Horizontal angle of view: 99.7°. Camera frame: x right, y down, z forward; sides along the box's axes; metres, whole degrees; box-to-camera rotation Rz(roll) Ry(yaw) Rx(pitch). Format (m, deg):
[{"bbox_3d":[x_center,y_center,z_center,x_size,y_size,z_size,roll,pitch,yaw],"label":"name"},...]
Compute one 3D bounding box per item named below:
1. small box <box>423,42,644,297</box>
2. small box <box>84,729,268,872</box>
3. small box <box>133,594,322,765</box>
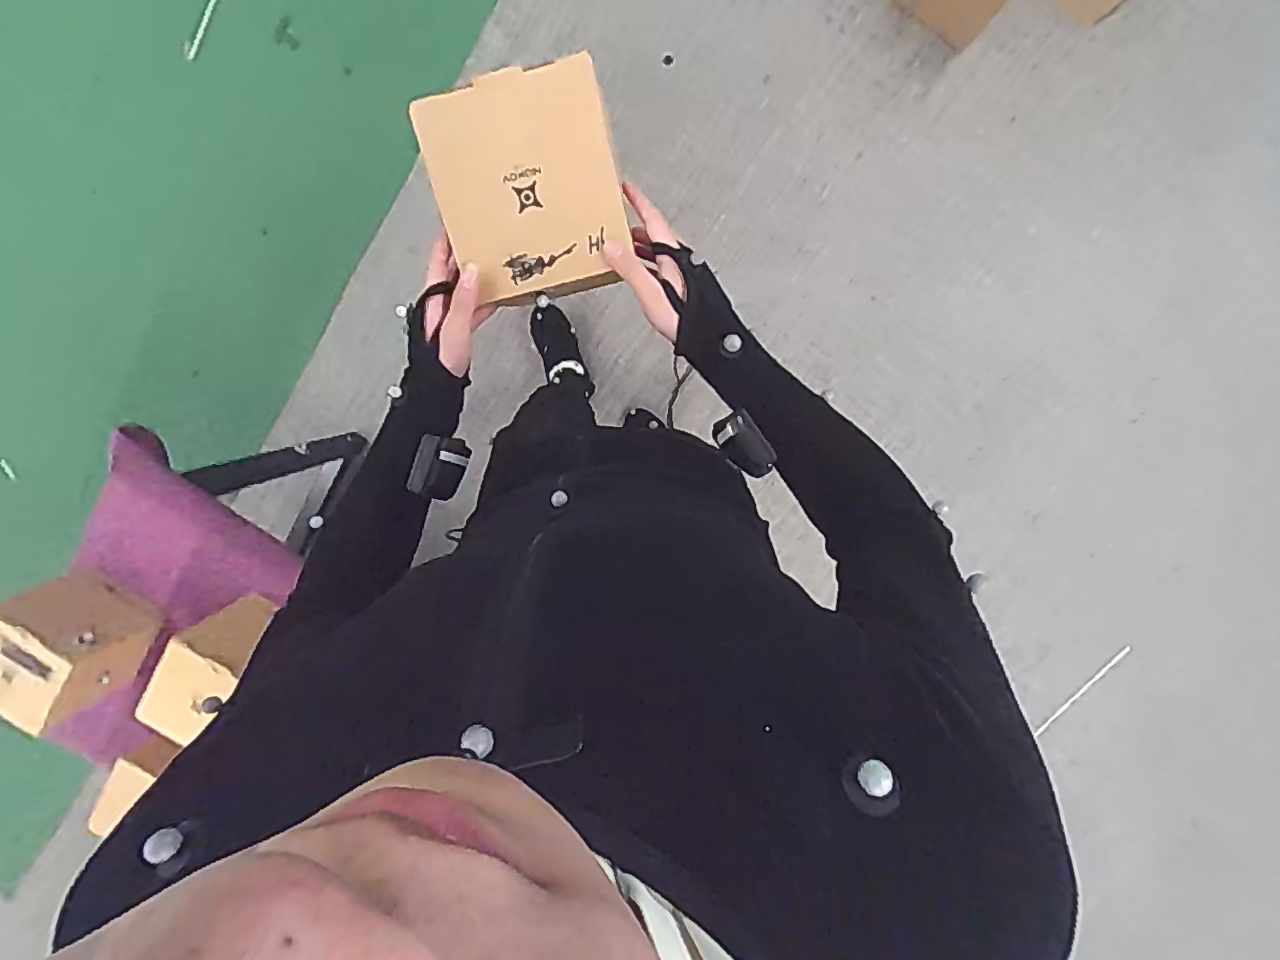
[{"bbox_3d":[-0.091,-0.296,0.557,0.168,0.176,0.179,-10,107,5],"label":"small box"},{"bbox_3d":[-0.833,0.549,0.989,0.168,0.176,0.179,33,102,-5],"label":"small box"},{"bbox_3d":[-0.694,0.333,0.929,0.168,0.176,0.179,34,103,-4],"label":"small box"}]
